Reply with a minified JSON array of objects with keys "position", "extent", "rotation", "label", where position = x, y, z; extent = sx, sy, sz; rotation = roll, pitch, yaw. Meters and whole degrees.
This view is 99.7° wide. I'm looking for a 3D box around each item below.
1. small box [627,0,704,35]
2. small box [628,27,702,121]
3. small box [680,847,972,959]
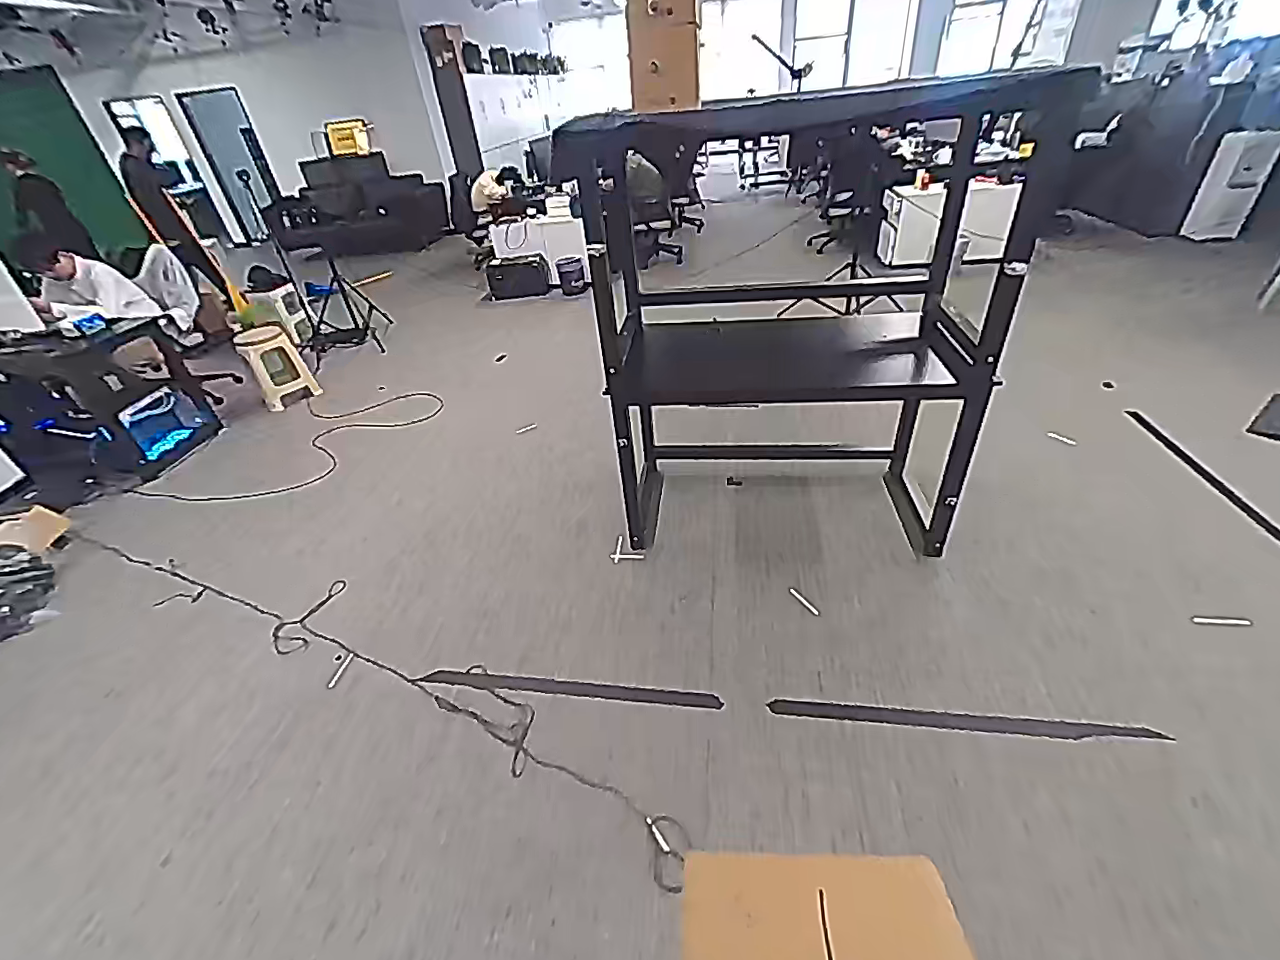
[{"position":[0.061,-1.146,1.266],"extent":[0.168,0.176,0.179],"rotation":[1,35,11],"label":"small box"},{"position":[0.070,-1.011,1.357],"extent":[0.168,0.176,0.179],"rotation":[1,34,8],"label":"small box"},{"position":[0.108,0.360,0.325],"extent":[0.168,0.176,0.179],"rotation":[1,29,2],"label":"small box"}]
